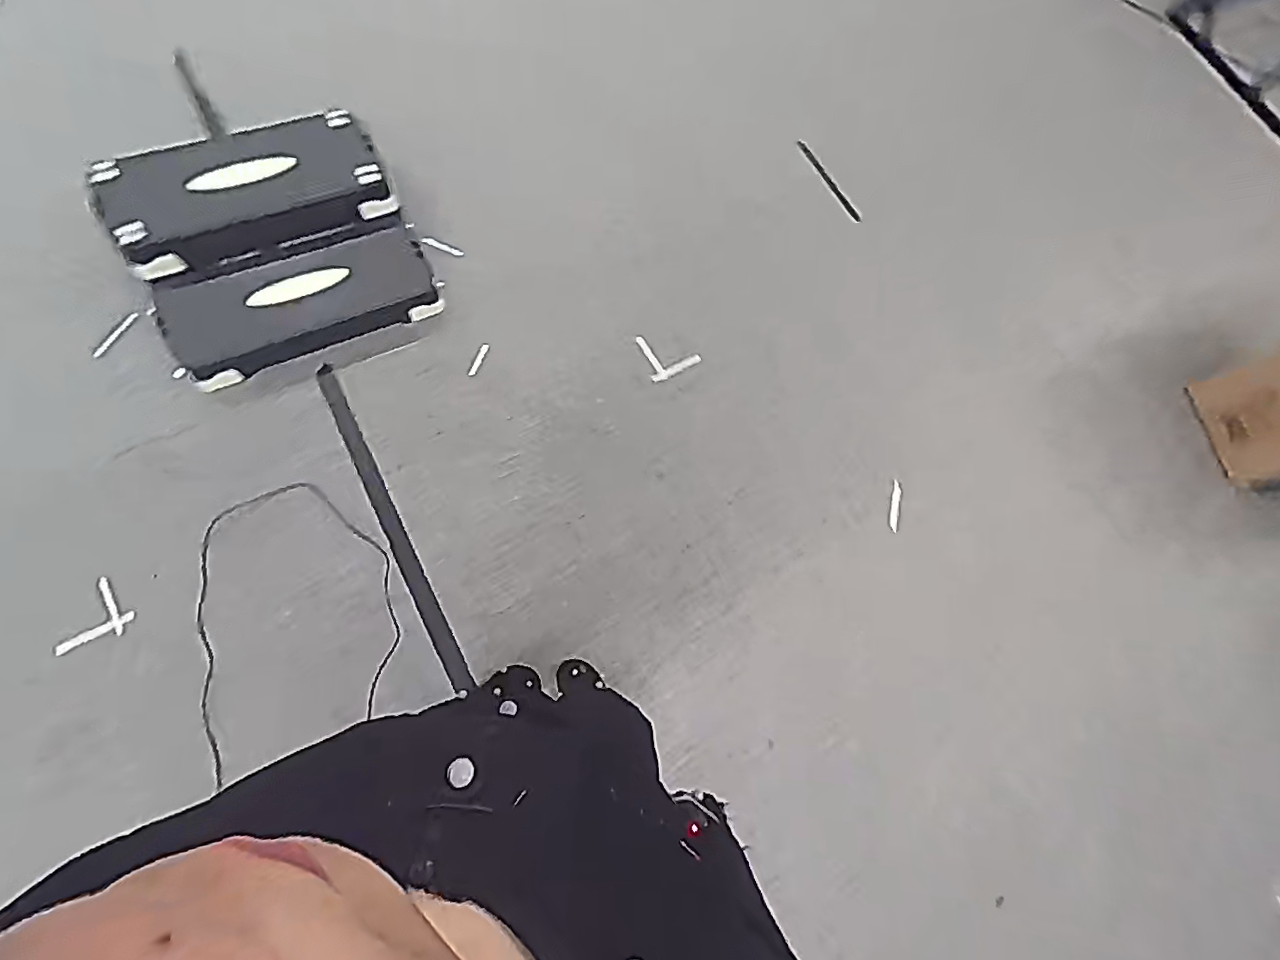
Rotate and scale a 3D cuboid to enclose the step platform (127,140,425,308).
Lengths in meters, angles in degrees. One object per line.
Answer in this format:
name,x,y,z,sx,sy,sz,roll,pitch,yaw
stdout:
step platform,-0.985,-0.725,1.509,0.684,0.204,0.286,-21,77,-17
